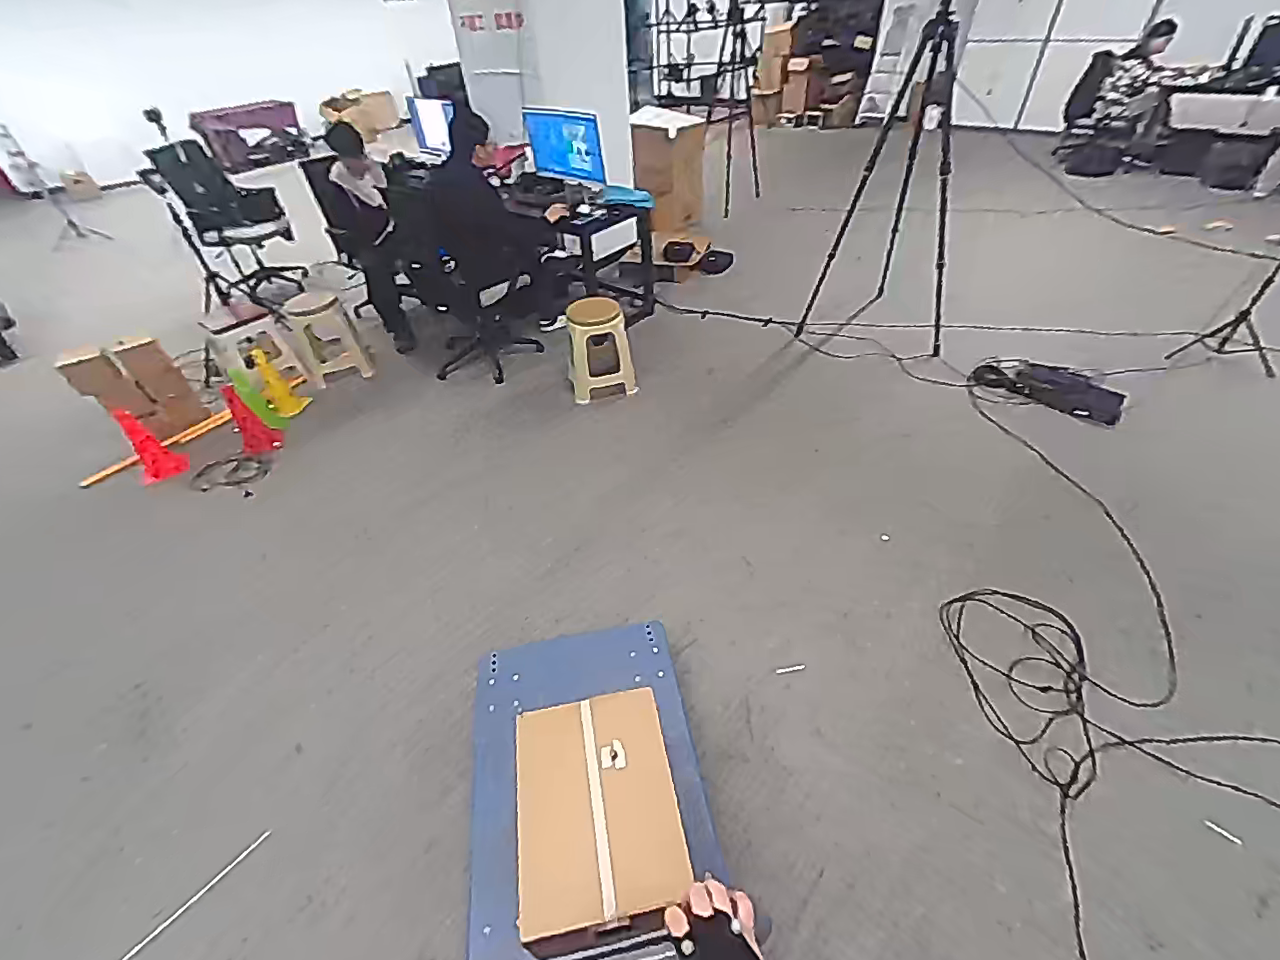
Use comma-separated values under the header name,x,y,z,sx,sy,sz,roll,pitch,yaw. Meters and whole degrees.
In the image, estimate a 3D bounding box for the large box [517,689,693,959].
name,x,y,z,sx,sy,sz,roll,pitch,yaw
large box,-0.082,0.749,1.190,0.320,0.320,0.408,-9,41,-6
